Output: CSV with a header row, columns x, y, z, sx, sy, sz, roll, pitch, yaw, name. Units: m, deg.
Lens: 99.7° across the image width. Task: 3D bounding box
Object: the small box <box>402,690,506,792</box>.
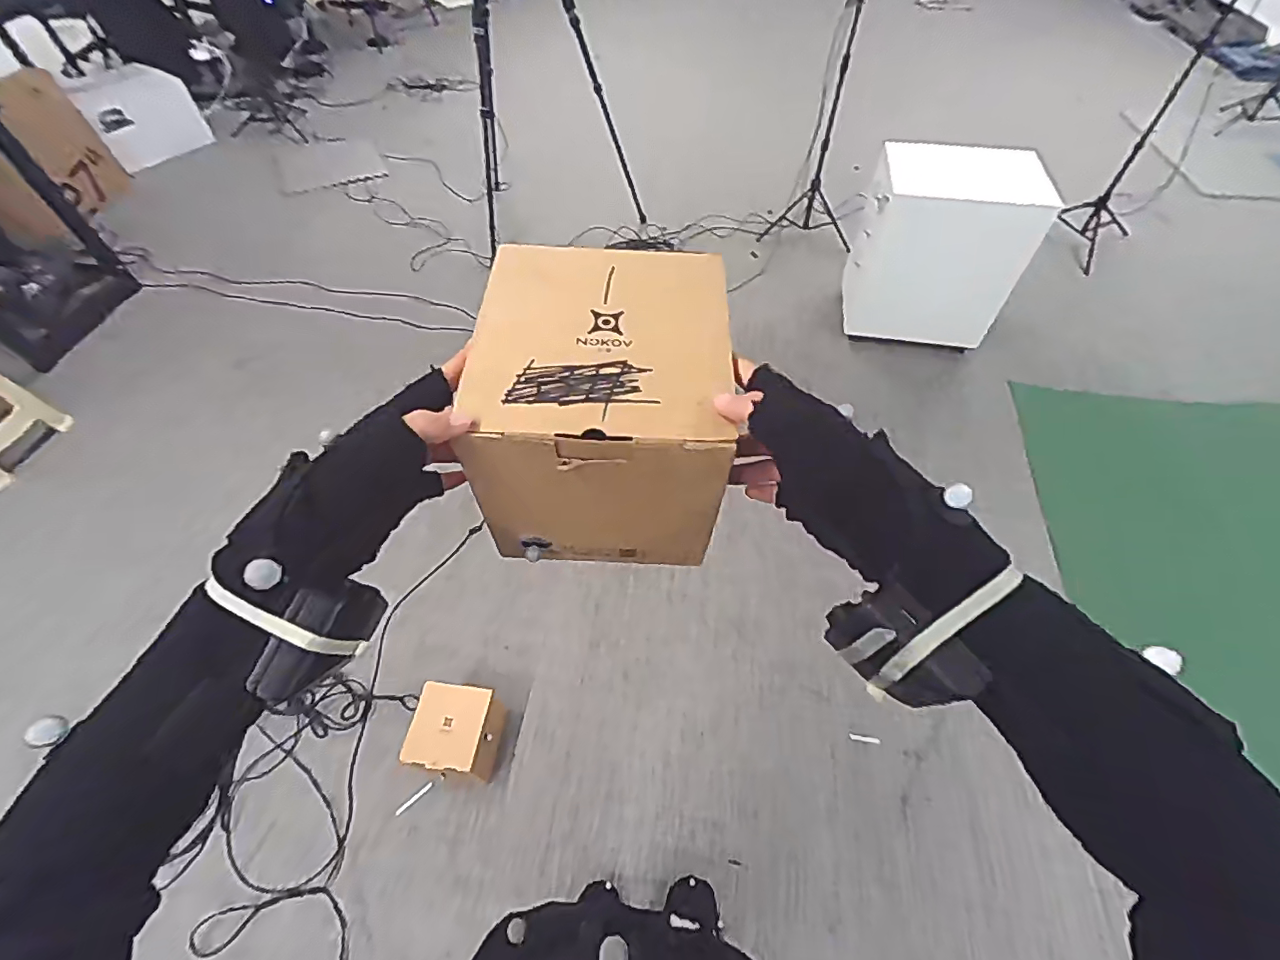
x,y,z,sx,sy,sz,roll,pitch,yaw,name
-0.426,0.618,1.276,0.168,0.176,0.179,5,54,6,small box
